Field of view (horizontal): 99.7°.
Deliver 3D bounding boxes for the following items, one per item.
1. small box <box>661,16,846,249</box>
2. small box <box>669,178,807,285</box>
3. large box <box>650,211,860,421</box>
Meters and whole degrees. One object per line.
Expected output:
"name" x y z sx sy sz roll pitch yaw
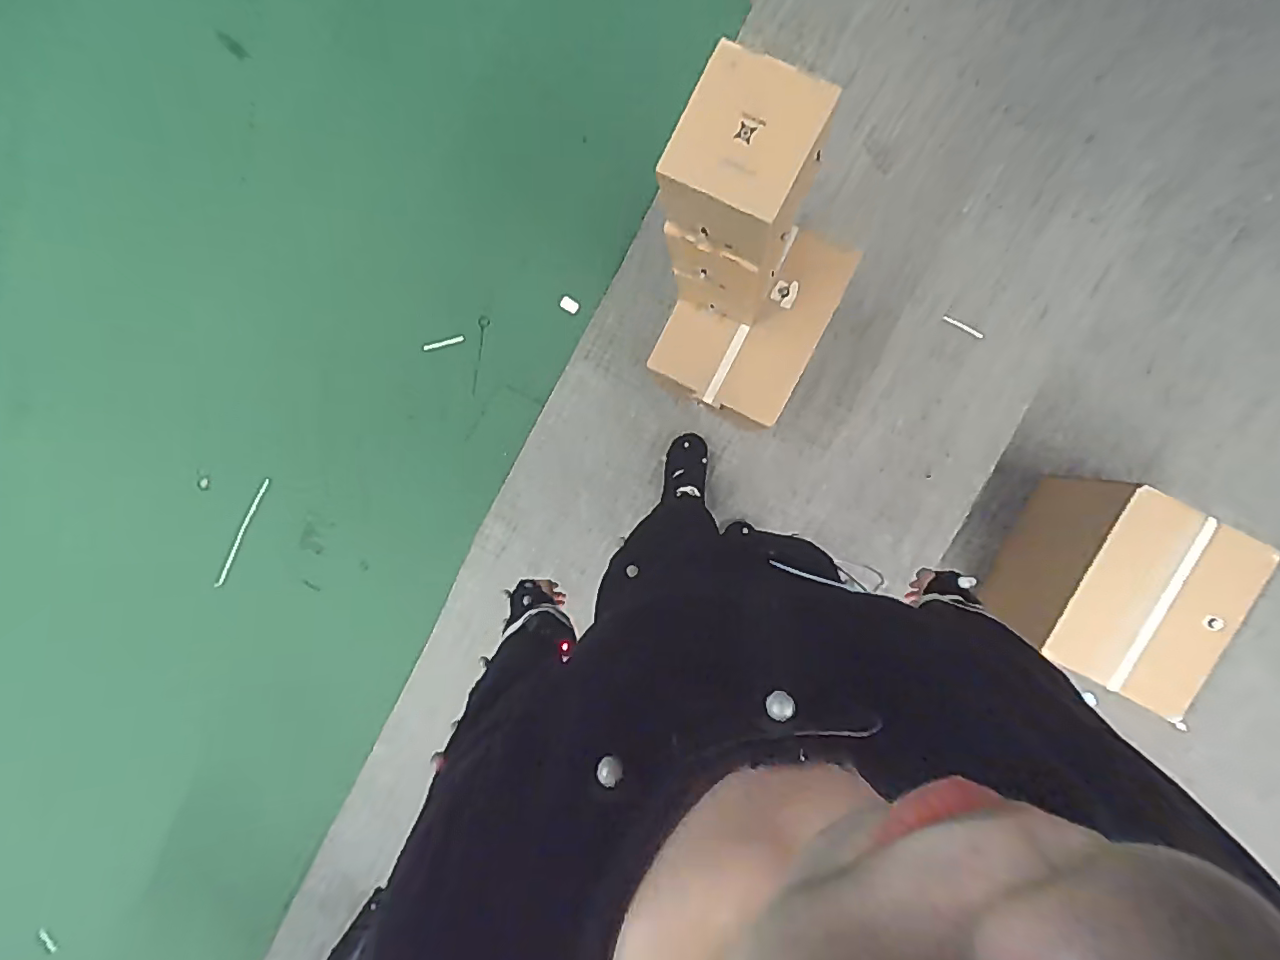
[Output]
"small box" 0.147 -0.455 0.736 0.168 0.176 0.179 30 98 7
"small box" 0.164 -0.458 0.899 0.168 0.176 0.179 28 97 7
"large box" 0.258 -0.393 1.303 0.320 0.320 0.408 28 95 4
